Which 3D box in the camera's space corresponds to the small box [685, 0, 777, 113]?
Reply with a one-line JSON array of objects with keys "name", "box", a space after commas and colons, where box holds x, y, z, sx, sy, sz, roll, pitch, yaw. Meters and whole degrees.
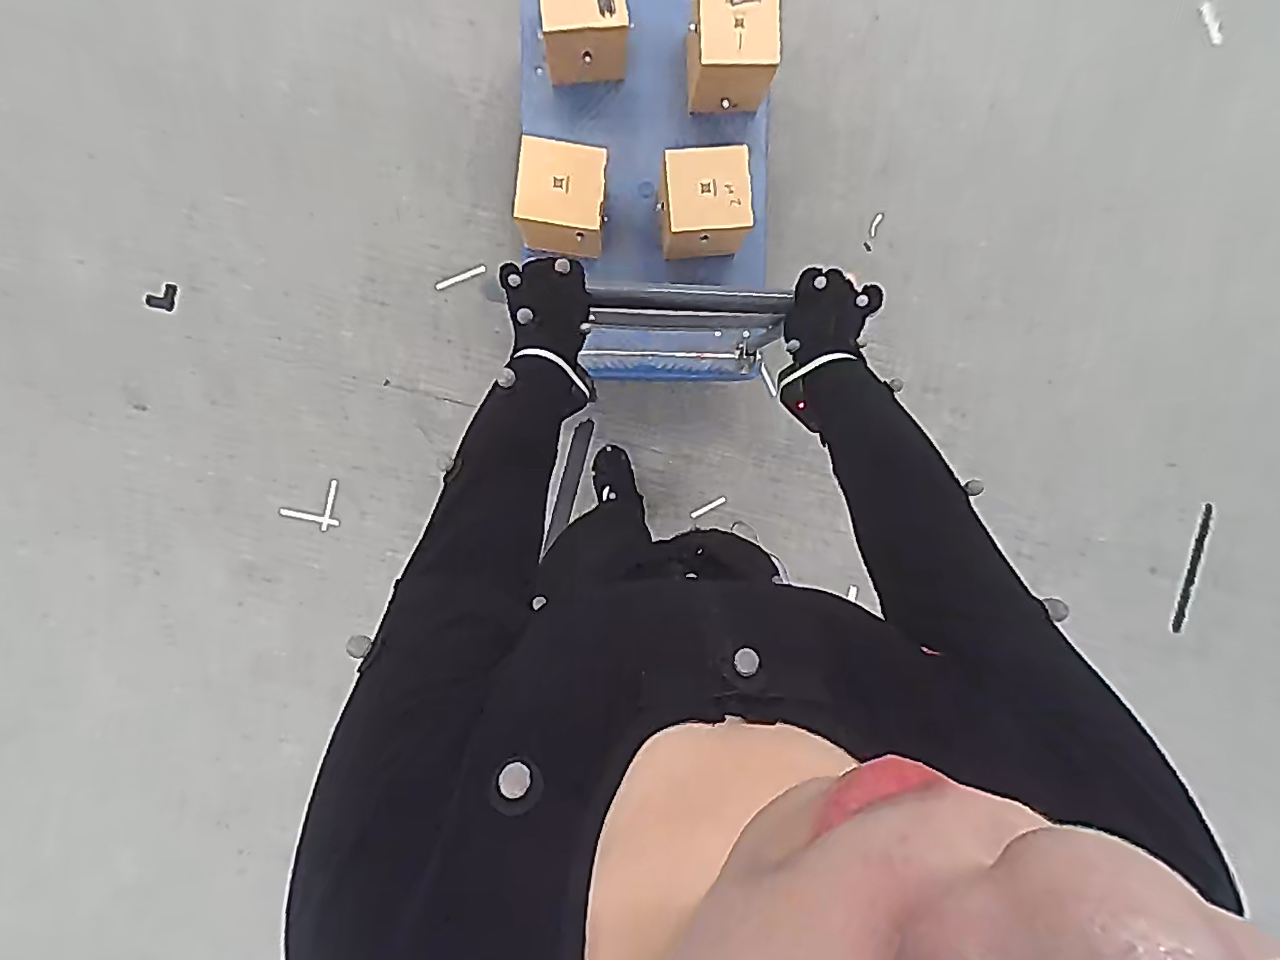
[{"name": "small box", "box": [0.191, -0.936, 1.170, 0.168, 0.176, 0.179, -2, 95, -3]}]

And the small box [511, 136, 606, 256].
[{"name": "small box", "box": [-0.171, -0.603, 1.170, 0.179, 0.176, 0.168, 6, 93, -5]}]

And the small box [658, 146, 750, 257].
[{"name": "small box", "box": [0.133, -0.602, 1.188, 0.179, 0.176, 0.168, -5, 94, -3]}]
